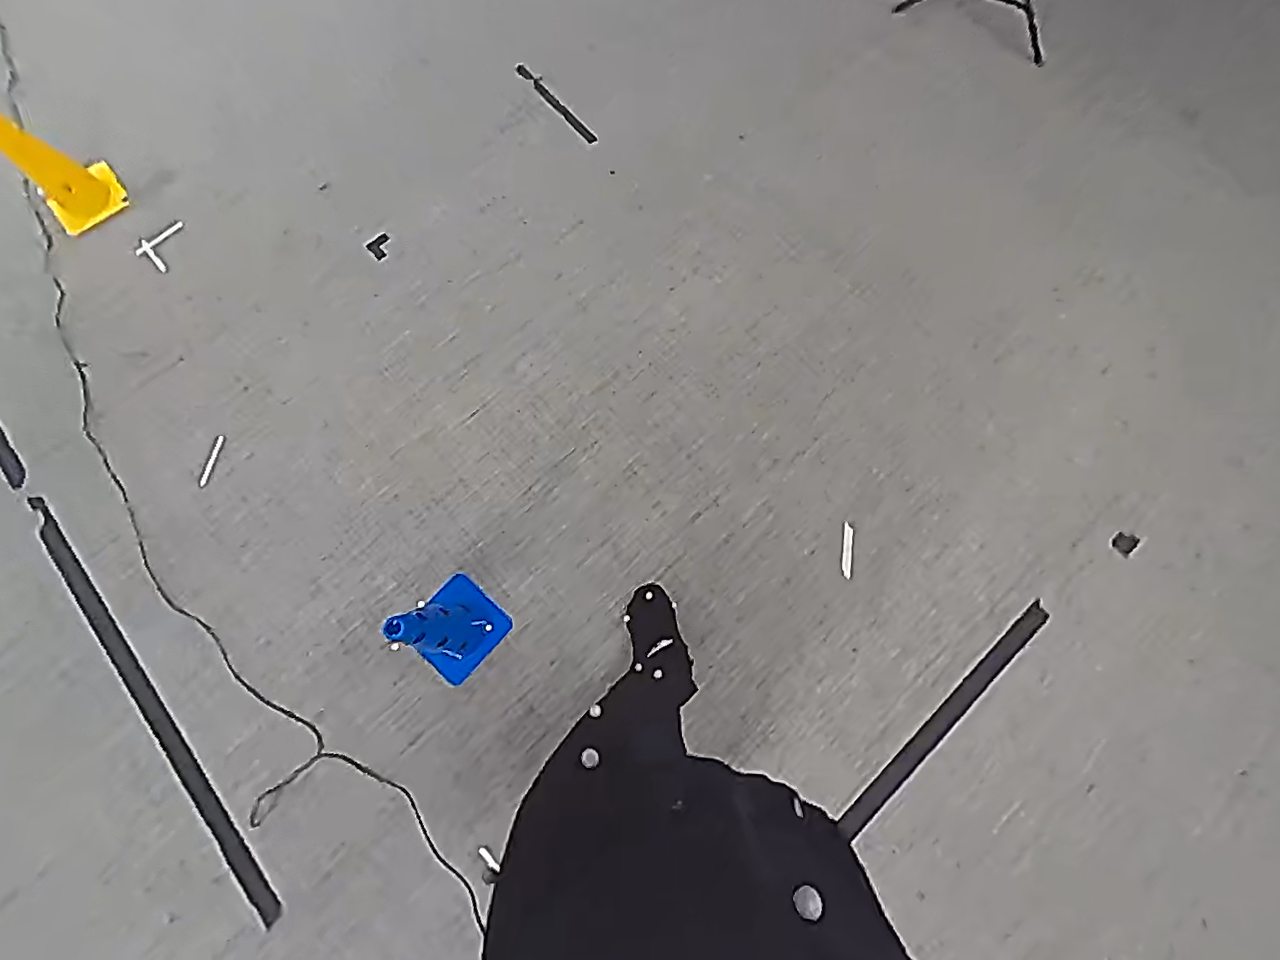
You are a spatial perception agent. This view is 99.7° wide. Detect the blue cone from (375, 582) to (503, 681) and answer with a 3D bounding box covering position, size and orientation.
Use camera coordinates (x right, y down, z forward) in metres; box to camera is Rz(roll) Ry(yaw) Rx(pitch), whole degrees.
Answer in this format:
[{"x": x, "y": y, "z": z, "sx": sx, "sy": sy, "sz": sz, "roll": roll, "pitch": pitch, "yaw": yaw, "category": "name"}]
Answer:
[{"x": -0.448, "y": 0.320, "z": 1.145, "sx": 0.193, "sy": 0.380, "sz": 0.192, "roll": 42, "pitch": 80, "yaw": 10, "category": "blue cone"}]
